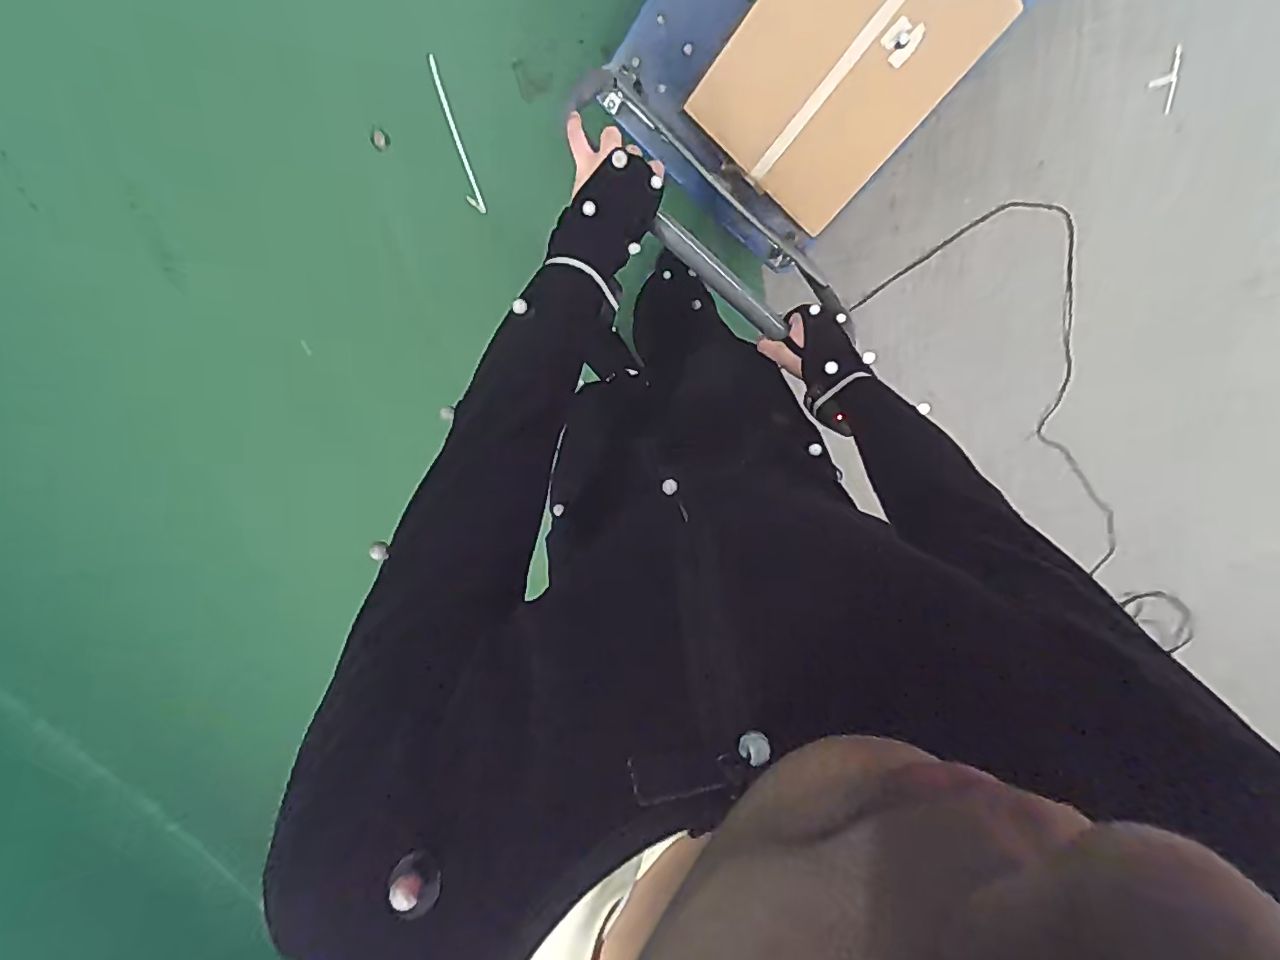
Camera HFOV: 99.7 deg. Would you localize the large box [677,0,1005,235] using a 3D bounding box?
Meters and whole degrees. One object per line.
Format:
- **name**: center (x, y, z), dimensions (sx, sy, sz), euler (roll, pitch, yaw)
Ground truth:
- **large box**: center (0.307, -0.723, 0.965), dimensions (0.320, 0.320, 0.408), euler (34, 116, -19)
